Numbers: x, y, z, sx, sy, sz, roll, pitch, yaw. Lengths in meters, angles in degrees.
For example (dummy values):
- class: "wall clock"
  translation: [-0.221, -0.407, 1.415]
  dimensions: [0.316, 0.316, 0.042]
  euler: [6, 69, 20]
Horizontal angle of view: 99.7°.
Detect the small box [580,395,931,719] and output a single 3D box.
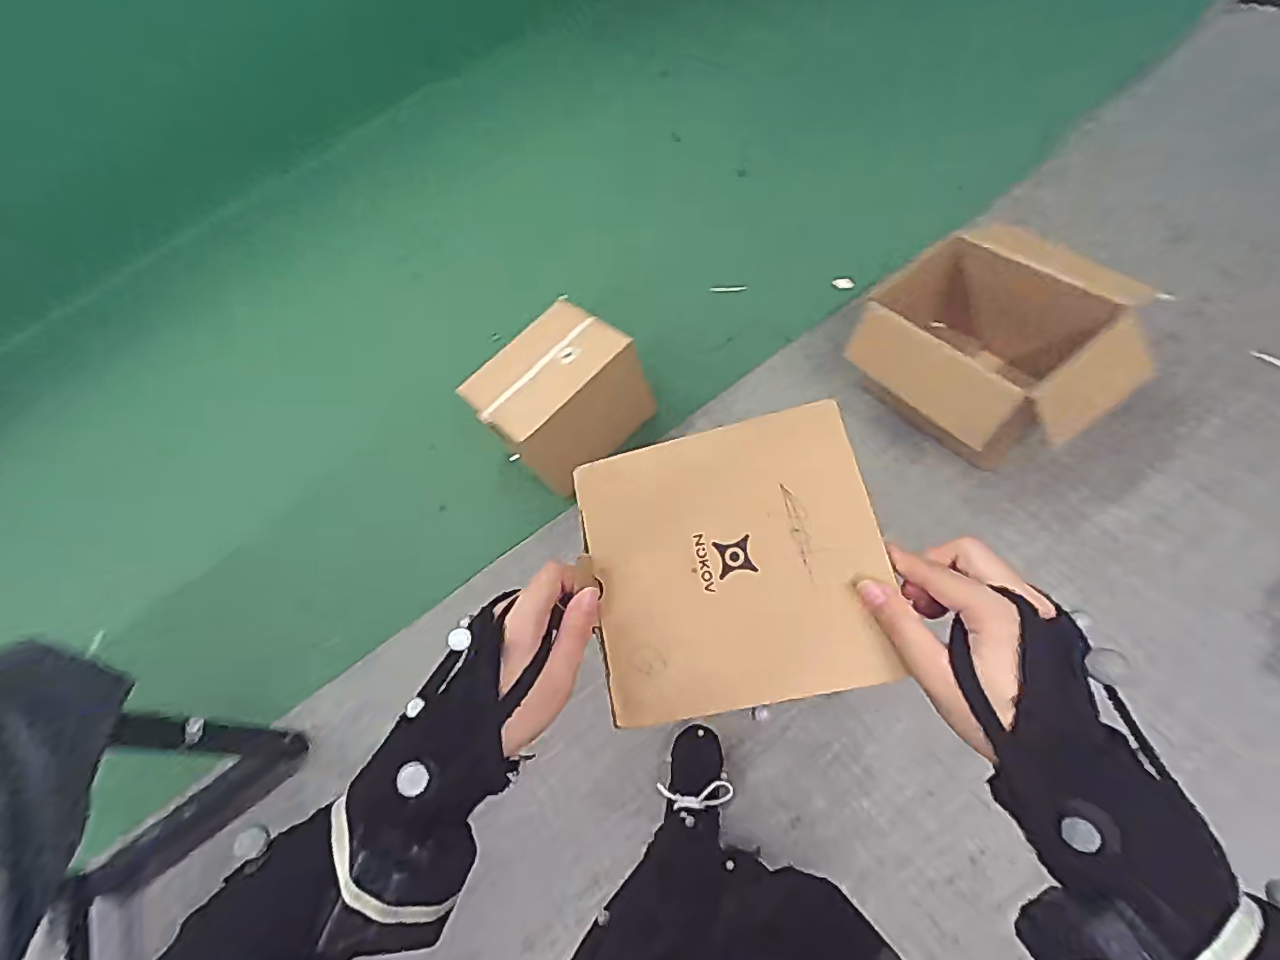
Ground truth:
- class: "small box"
  translation: [0.073, 0.064, 0.392]
  dimensions: [0.179, 0.176, 0.168]
  euler: [-14, 72, 8]
